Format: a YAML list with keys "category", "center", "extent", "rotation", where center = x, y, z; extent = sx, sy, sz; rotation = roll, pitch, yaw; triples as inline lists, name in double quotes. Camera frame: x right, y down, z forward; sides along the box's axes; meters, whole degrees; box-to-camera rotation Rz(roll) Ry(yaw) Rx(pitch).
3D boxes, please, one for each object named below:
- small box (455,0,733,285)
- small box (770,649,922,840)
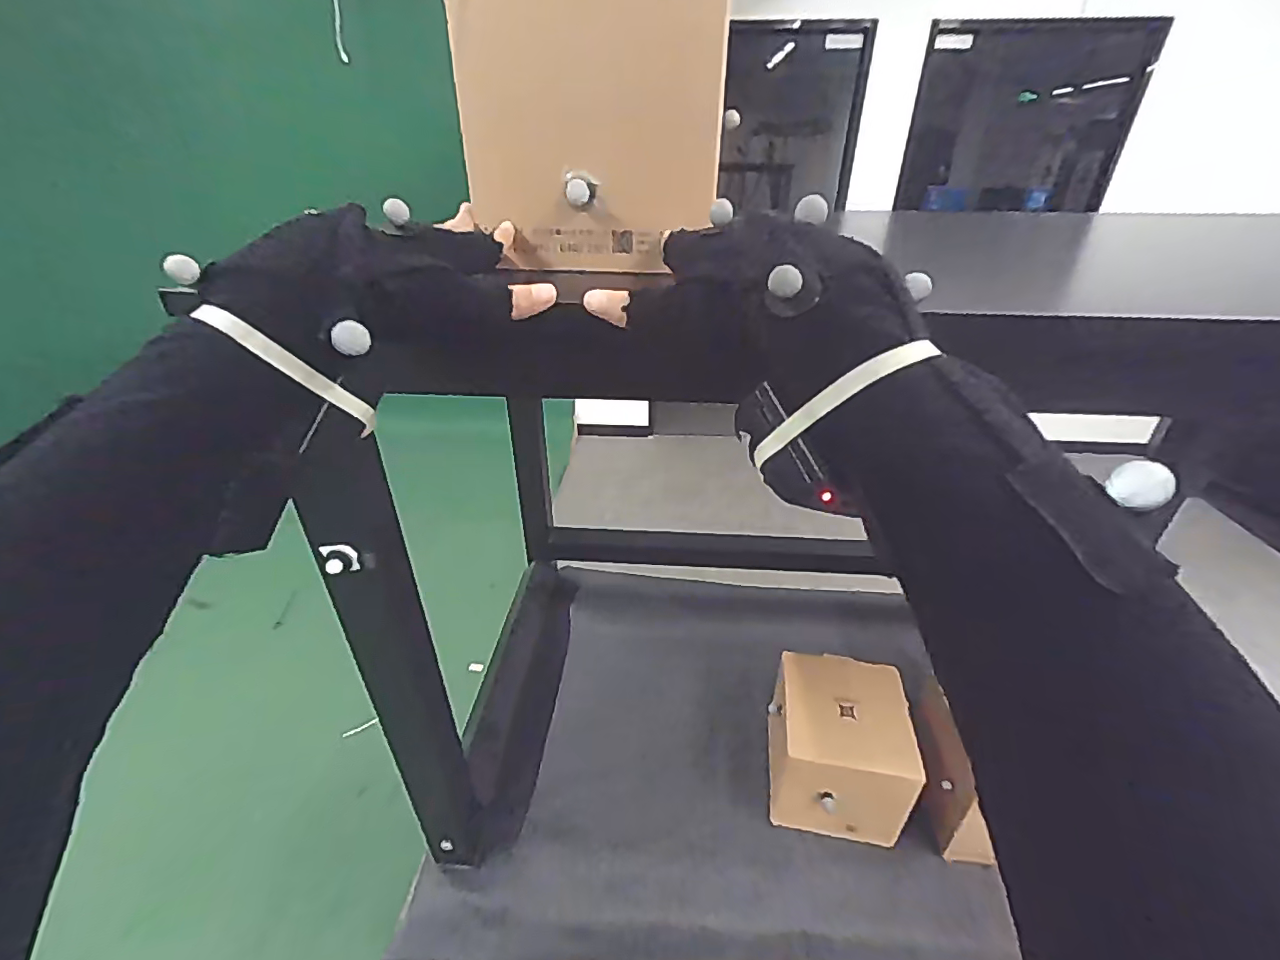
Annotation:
- category: "small box"
  center: [-0.022, -0.256, 0.413]
  extent: [0.168, 0.176, 0.179]
  rotation: [3, 32, 5]
- category: "small box"
  center: [0.282, 0.378, 0.779]
  extent: [0.168, 0.176, 0.179]
  rotation: [6, 31, 9]
